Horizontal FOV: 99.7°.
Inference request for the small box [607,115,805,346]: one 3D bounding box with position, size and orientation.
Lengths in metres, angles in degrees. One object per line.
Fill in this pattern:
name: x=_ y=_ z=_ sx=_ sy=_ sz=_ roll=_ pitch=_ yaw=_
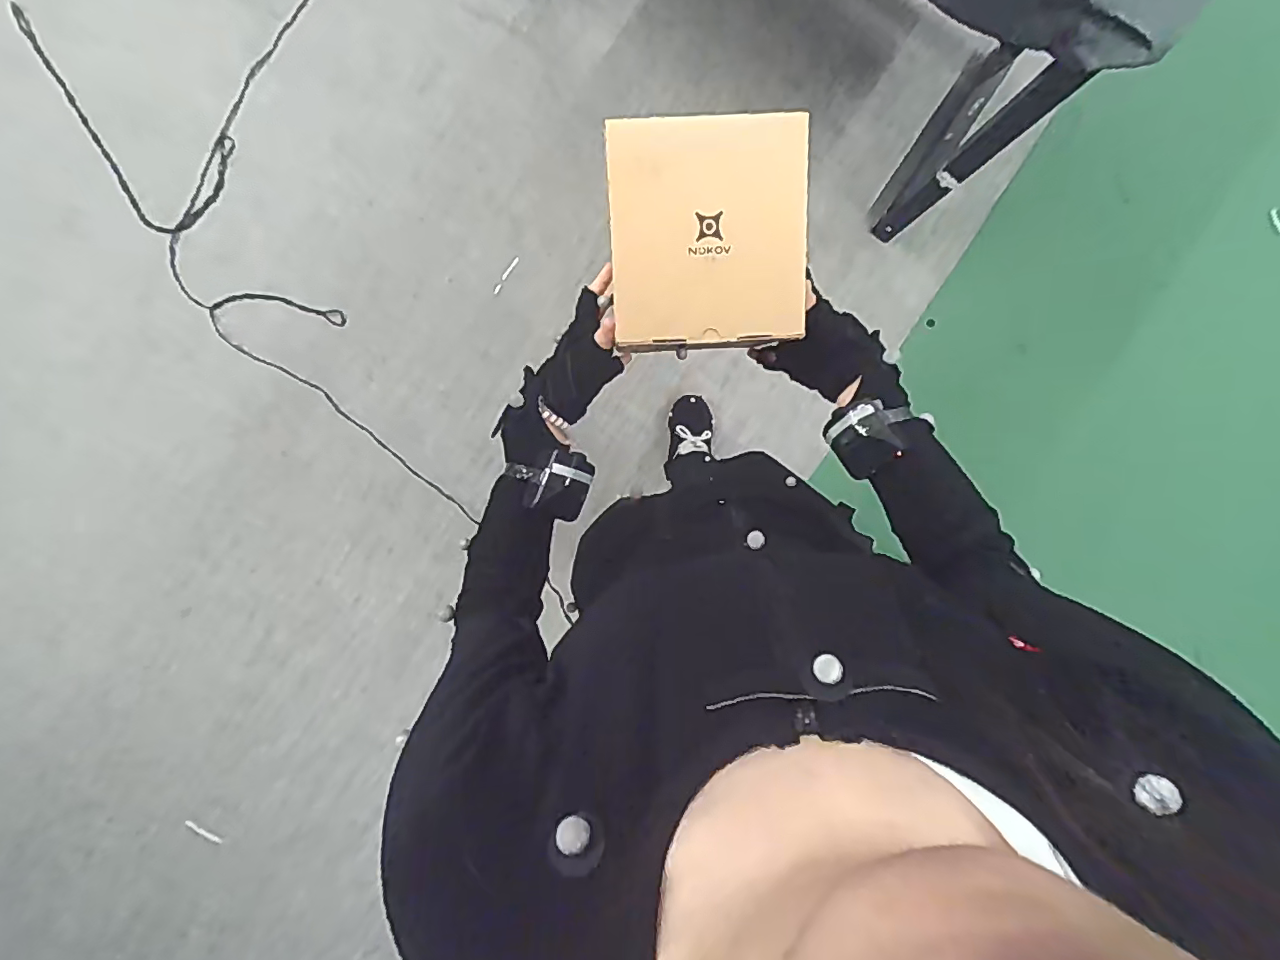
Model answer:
small box: x=0.053 y=-0.227 z=0.534 sx=0.168 sy=0.176 sz=0.179 roll=-3 pitch=103 yaw=-2
